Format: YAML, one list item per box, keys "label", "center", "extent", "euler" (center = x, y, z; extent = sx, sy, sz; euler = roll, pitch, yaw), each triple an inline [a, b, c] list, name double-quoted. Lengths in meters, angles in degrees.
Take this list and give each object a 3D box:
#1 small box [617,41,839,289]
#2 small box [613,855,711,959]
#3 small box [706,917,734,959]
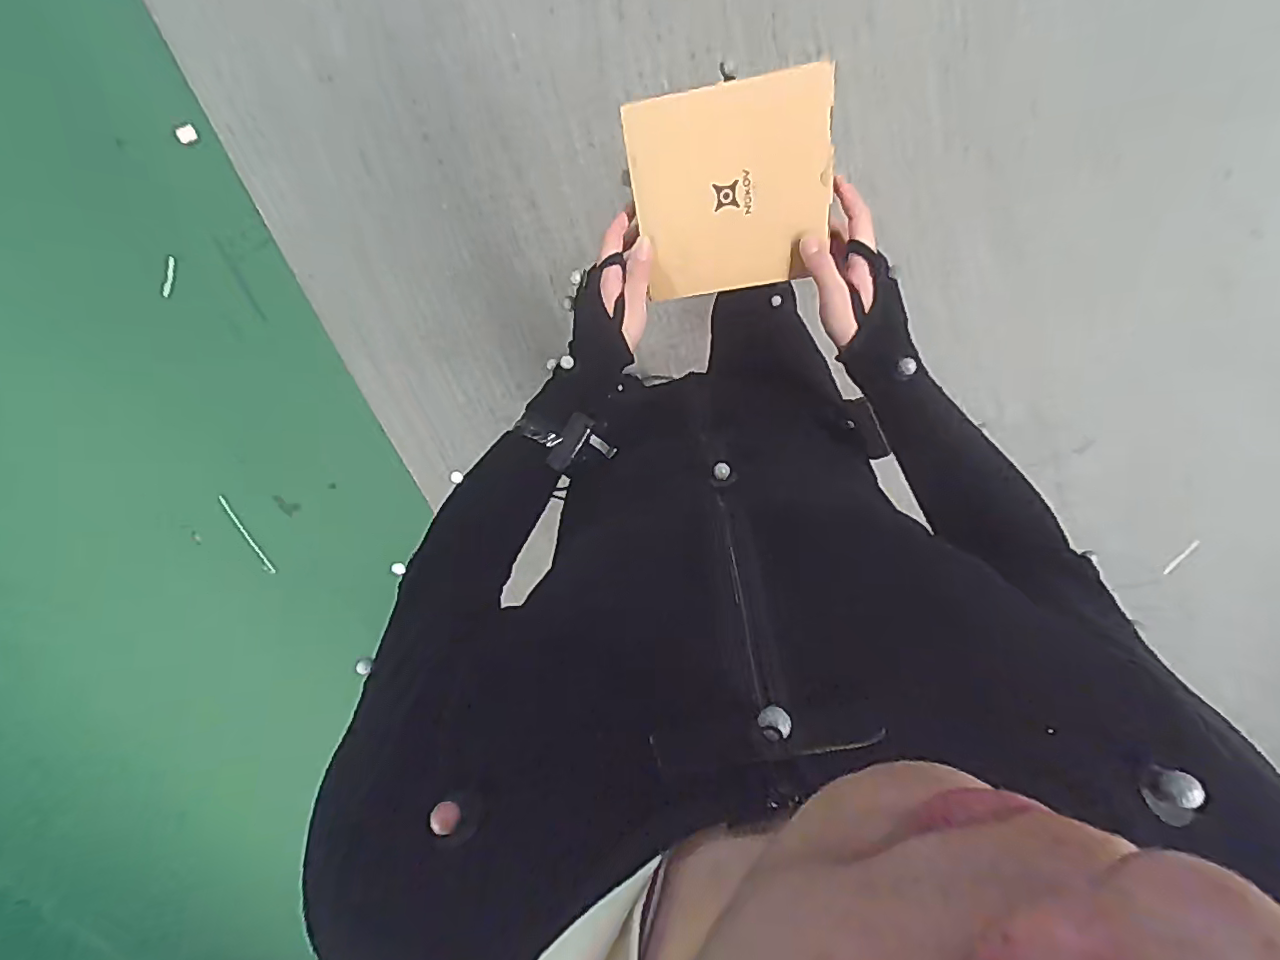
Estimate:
- label: "small box"
  center: [0.083, -0.302, 0.530]
  extent: [0.179, 0.176, 0.168]
  euler: [-7, 124, 7]
- label: "small box"
  center: [0.049, 0.977, 1.212]
  extent: [0.179, 0.176, 0.168]
  euler: [-16, 113, 10]
- label: "small box"
  center: [0.133, 1.193, 1.307]
  extent: [0.168, 0.176, 0.179]
  euler: [-17, 114, 11]
